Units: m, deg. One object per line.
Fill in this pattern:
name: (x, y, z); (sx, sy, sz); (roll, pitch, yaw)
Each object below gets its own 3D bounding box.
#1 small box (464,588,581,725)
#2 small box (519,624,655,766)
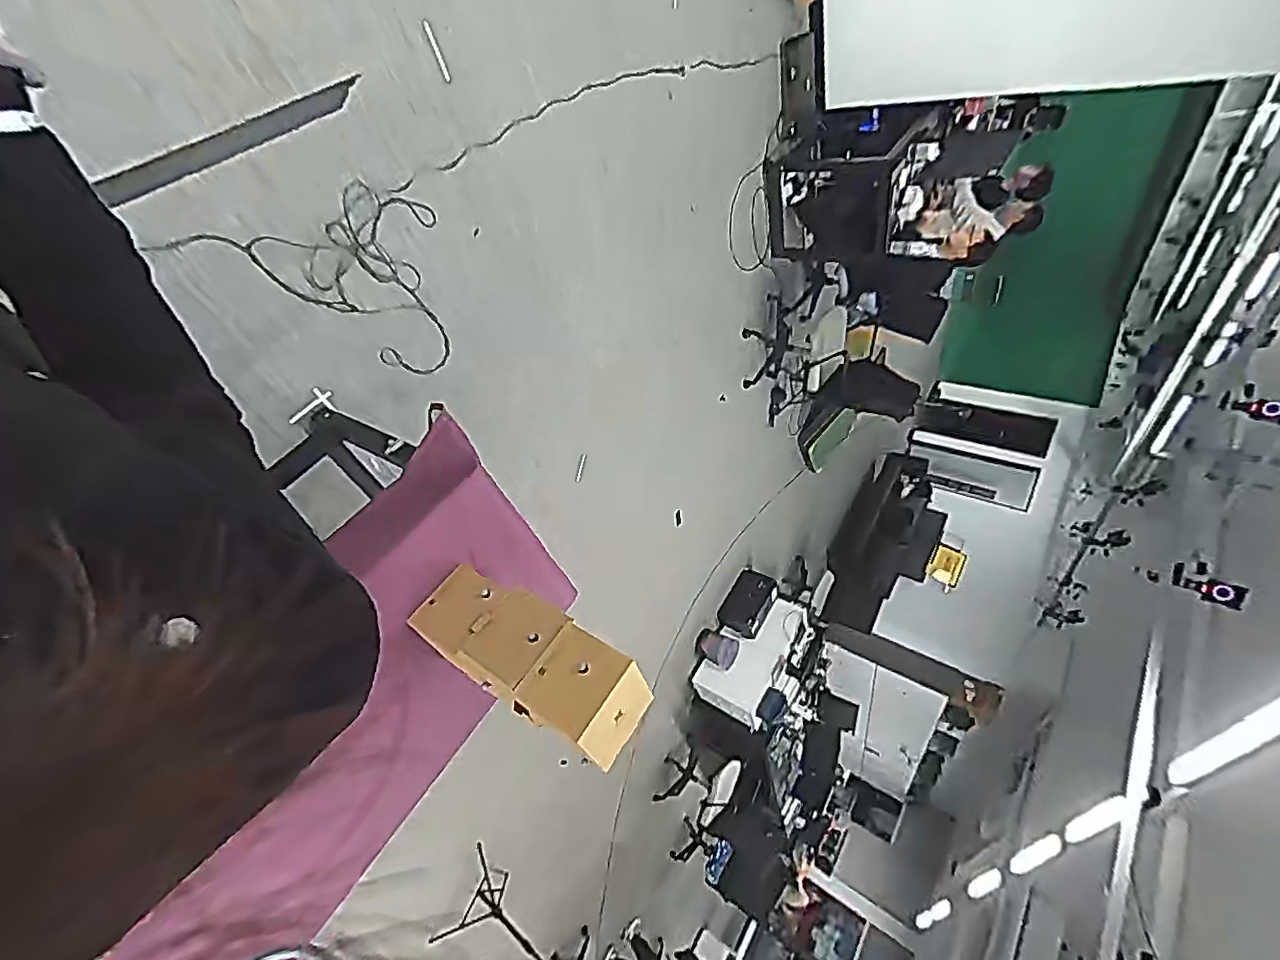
small box: (-0.226, 0.355, 1.117); (0.179, 0.176, 0.168); (-46, 140, -33)
small box: (-0.099, 0.399, 1.025); (0.168, 0.176, 0.179); (-51, 144, -28)
